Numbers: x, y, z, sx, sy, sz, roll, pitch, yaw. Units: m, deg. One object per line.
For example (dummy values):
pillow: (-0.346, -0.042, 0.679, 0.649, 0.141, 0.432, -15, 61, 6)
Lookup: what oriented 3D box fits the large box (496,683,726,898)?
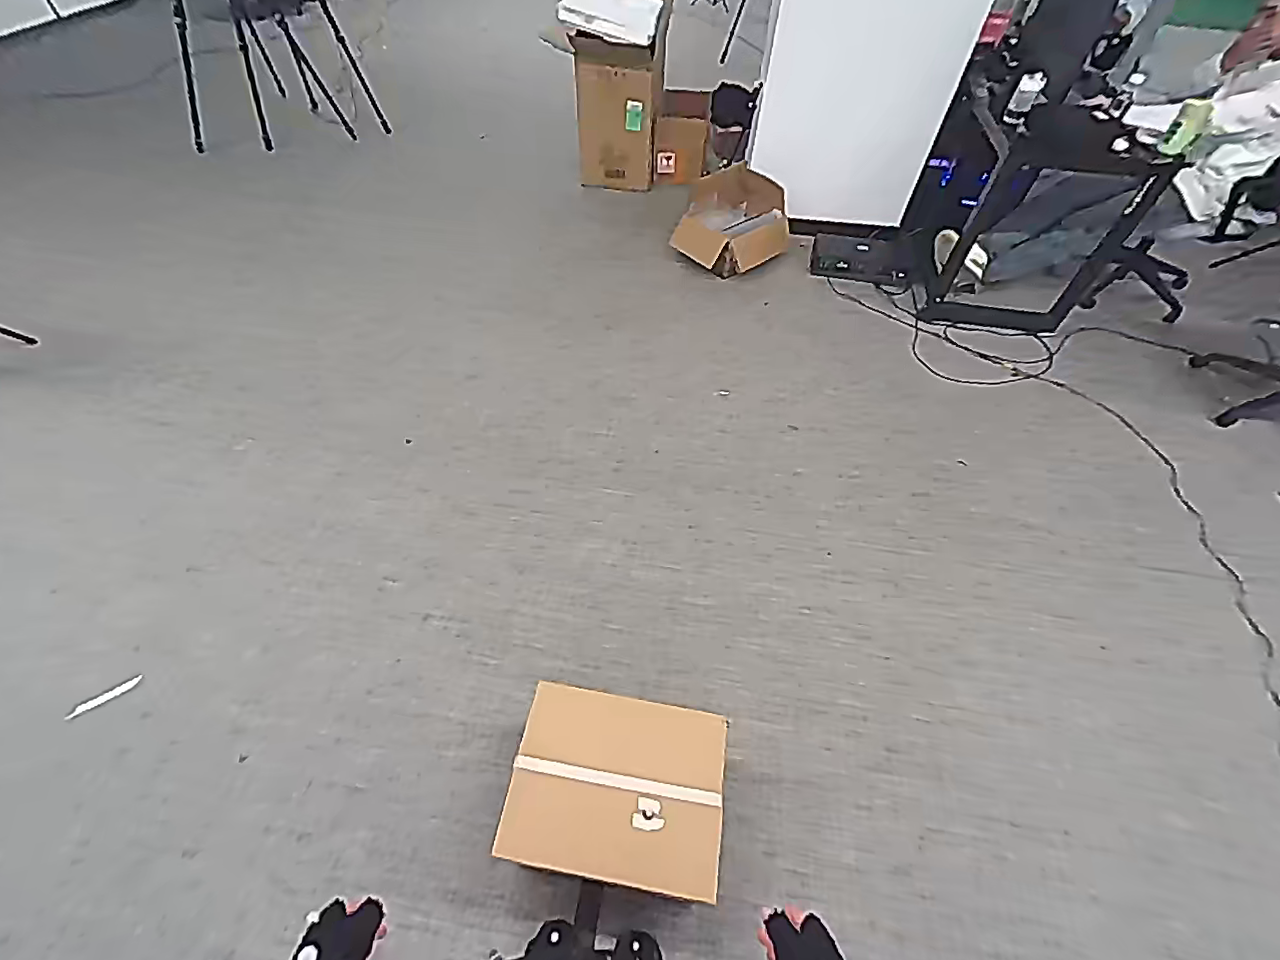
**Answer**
large box: (-0.049, 0.666, 1.157, 0.408, 0.320, 0.320, 9, 53, 4)
